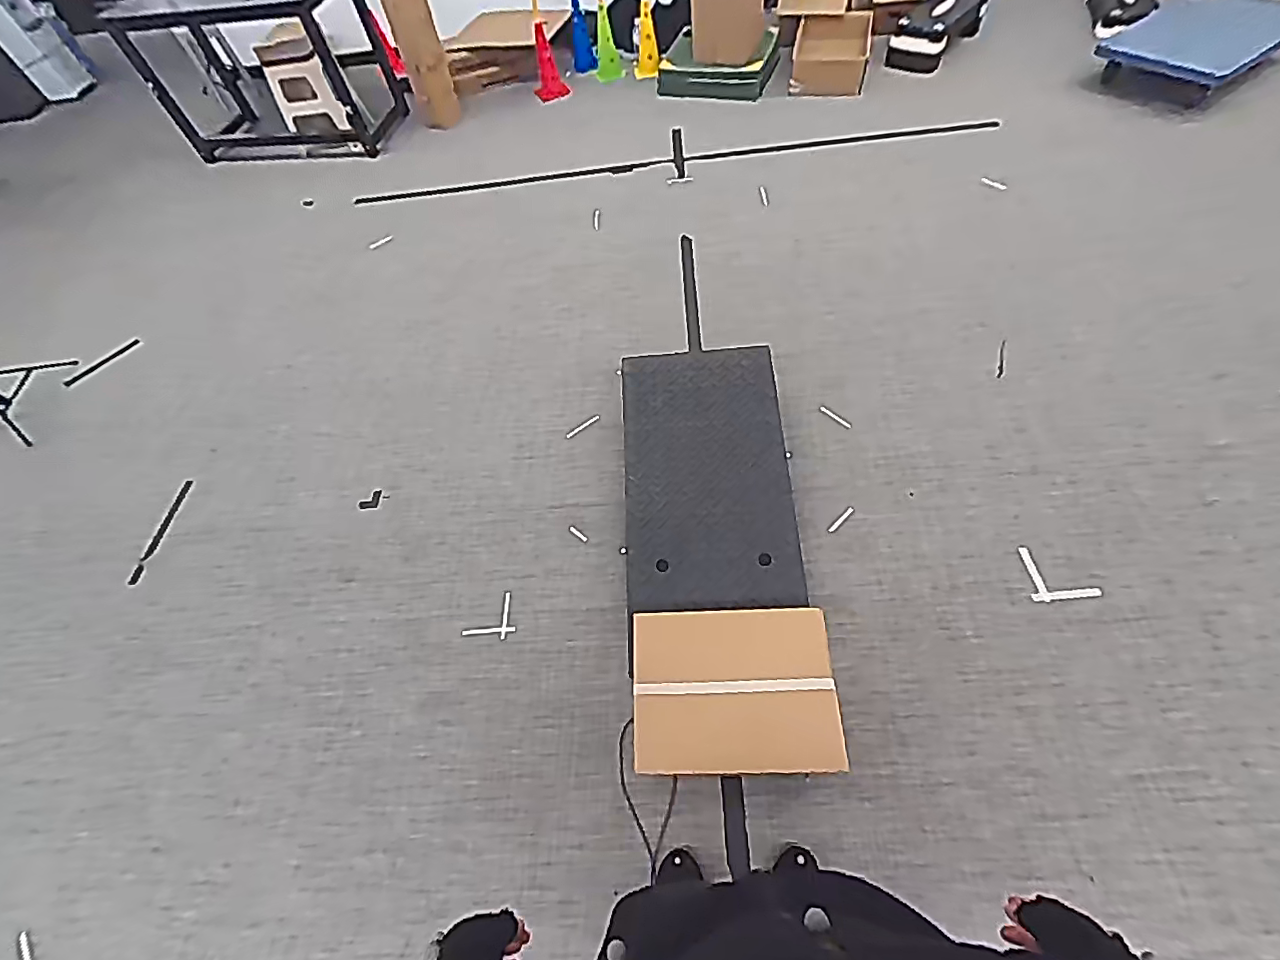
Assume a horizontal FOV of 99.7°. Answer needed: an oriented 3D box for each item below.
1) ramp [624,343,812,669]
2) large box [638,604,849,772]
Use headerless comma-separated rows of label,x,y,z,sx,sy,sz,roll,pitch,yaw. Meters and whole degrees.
ramp,0.209,0.029,1.608,0.509,0.206,0.991,-5,57,3
large box,0.213,0.486,1.235,0.408,0.320,0.320,-4,60,5
